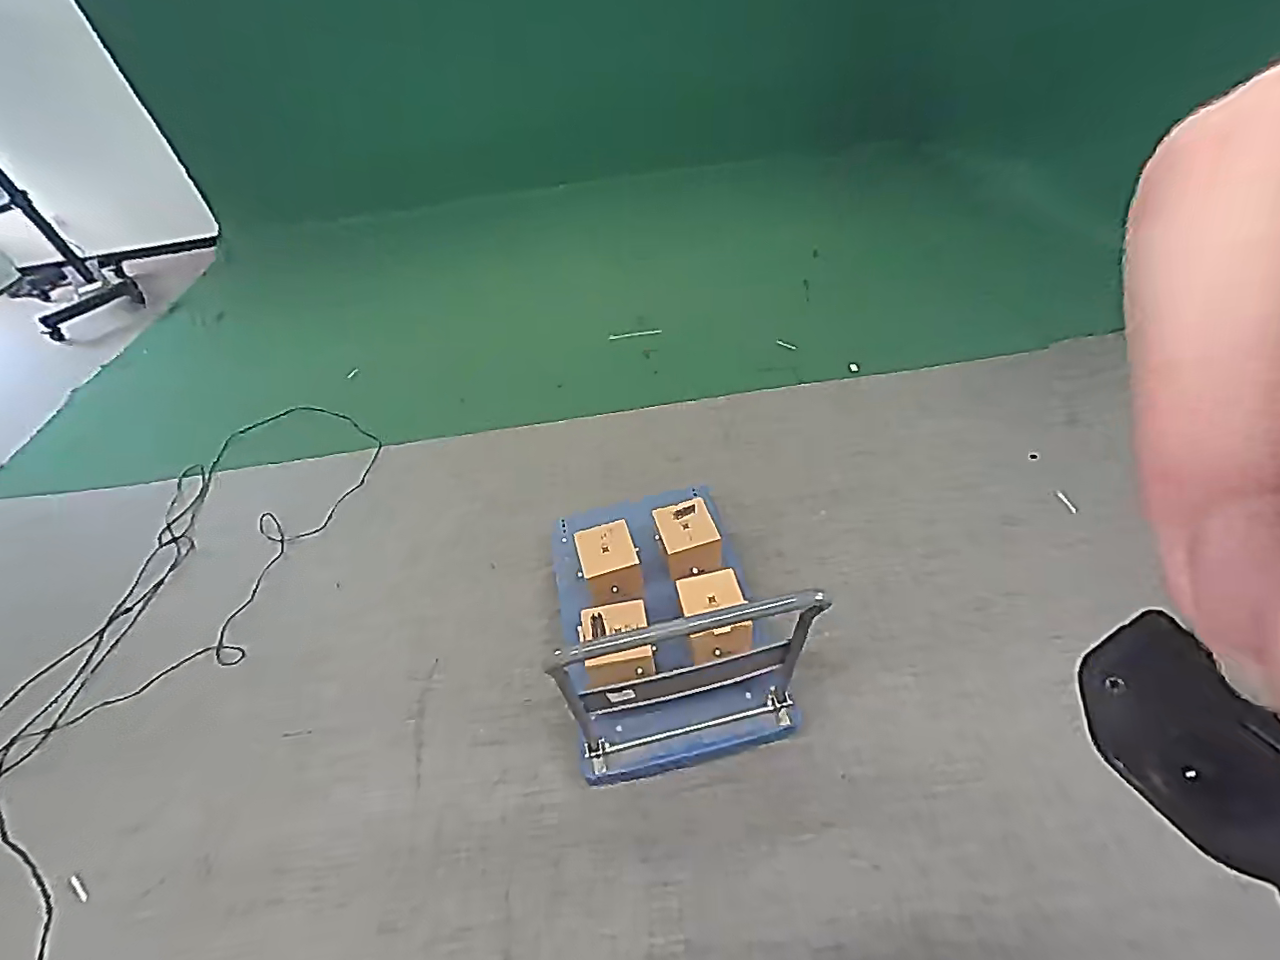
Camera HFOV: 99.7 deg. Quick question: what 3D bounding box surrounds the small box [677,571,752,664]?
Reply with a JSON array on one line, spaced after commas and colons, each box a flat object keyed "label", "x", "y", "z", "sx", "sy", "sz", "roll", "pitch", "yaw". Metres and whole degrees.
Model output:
[{"label": "small box", "x": 0.201, "y": 0.384, "z": 1.507, "sx": 0.168, "sy": 0.176, "sz": 0.179, "roll": -12, "pitch": 47, "yaw": -3}]

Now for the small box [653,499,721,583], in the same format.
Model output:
[{"label": "small box", "x": 0.145, "y": 0.192, "z": 1.690, "sx": 0.168, "sy": 0.176, "sz": 0.179, "roll": -16, "pitch": 48, "yaw": -6}]

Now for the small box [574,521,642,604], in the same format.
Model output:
[{"label": "small box", "x": -0.096, "y": 0.260, "z": 1.661, "sx": 0.168, "sy": 0.176, "sz": 0.179, "roll": -15, "pitch": 47, "yaw": -7}]
